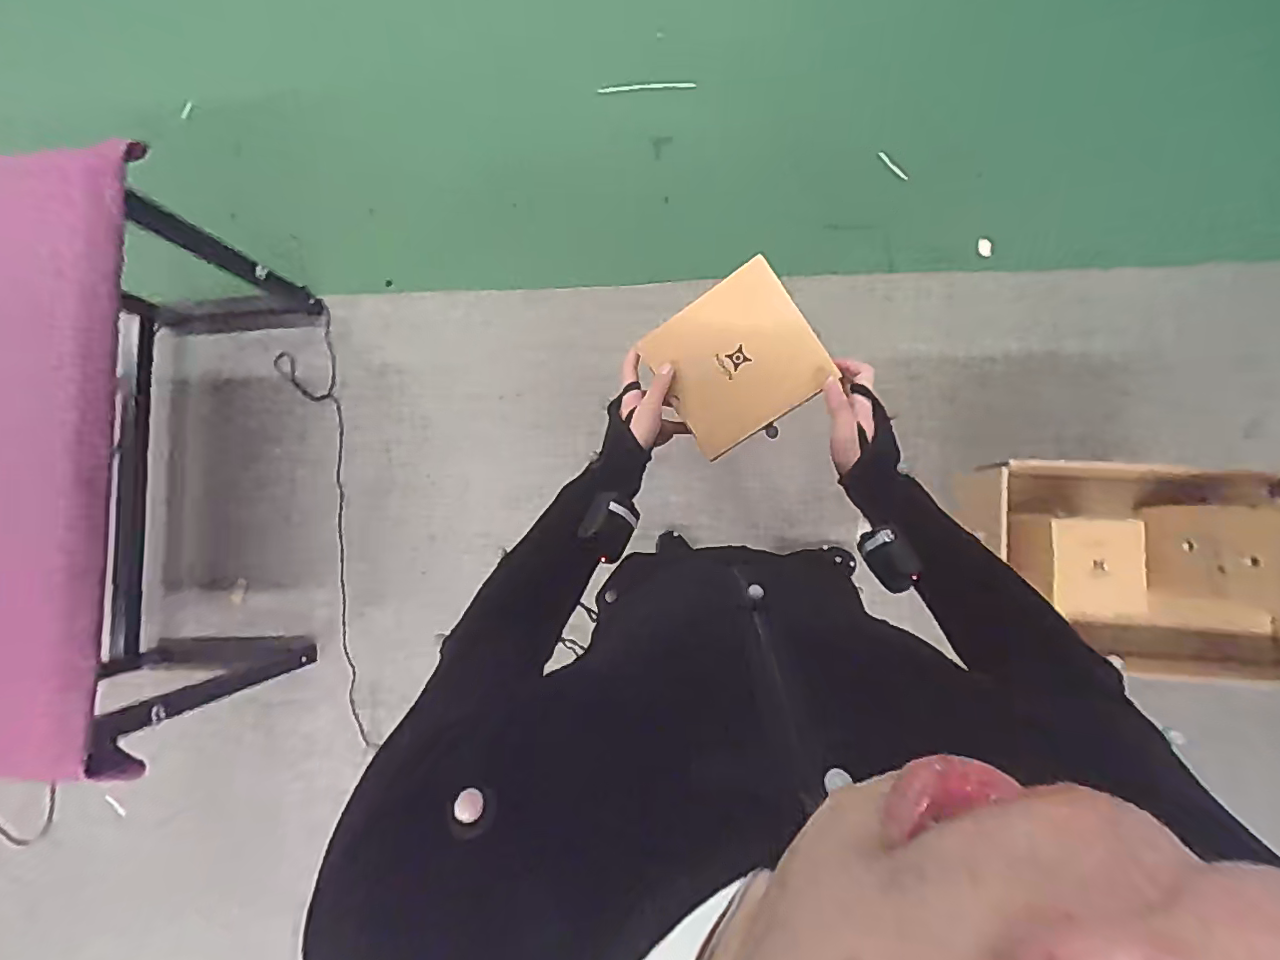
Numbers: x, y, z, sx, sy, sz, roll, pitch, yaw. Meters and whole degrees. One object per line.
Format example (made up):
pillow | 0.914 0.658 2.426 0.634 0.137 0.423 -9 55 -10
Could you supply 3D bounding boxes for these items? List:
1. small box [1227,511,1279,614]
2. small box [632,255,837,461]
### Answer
small box | 1.110 0.134 0.868 0.179 0.176 0.168 -3 87 7
small box | 0.119 -0.144 0.683 0.179 0.176 0.168 -34 87 15
